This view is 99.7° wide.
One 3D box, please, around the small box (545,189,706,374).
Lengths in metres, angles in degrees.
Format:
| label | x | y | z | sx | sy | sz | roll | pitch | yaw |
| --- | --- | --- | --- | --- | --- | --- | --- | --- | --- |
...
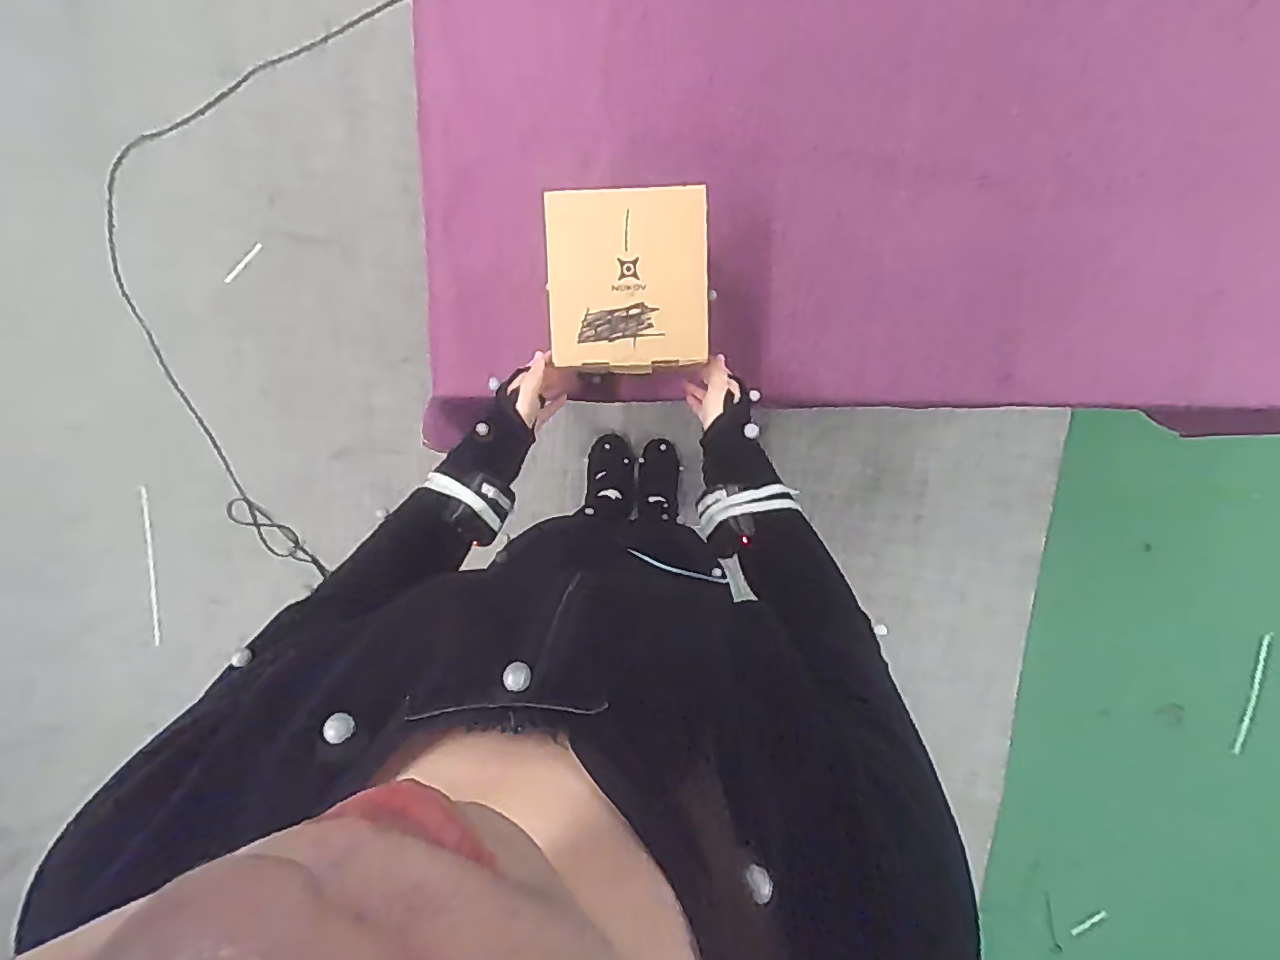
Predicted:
| label | x | y | z | sx | sy | sz | roll | pitch | yaw |
| --- | --- | --- | --- | --- | --- | --- | --- | --- | --- |
| small box | -0.011 | -0.216 | 0.635 | 0.168 | 0.176 | 0.179 | -1 | 98 | 2 |
